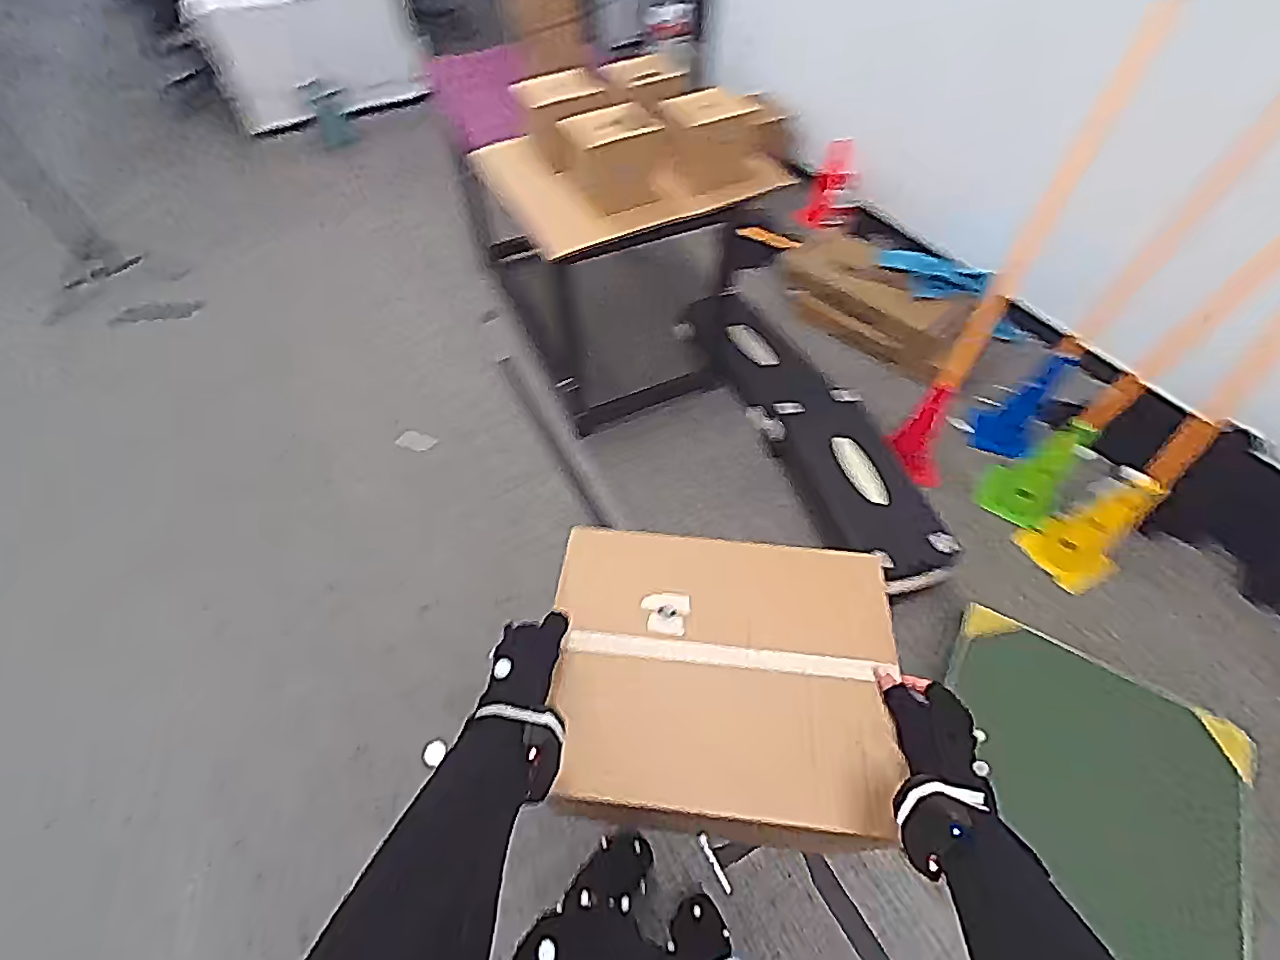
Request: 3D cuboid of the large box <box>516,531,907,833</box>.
[{"bbox_3d":[0.087,0.288,0.753,0.408,0.320,0.320,4,54,5],"label":"large box"}]
